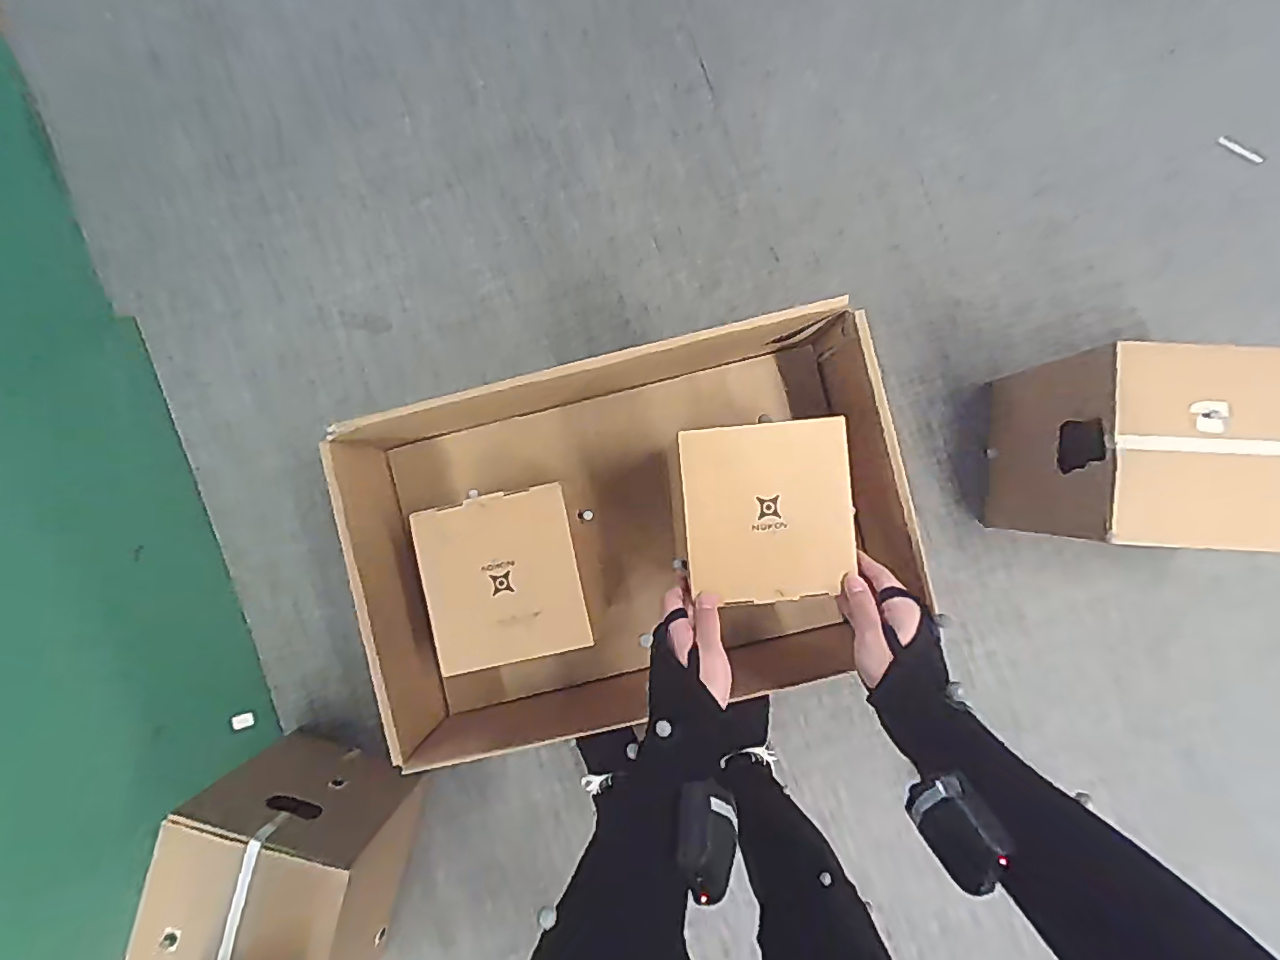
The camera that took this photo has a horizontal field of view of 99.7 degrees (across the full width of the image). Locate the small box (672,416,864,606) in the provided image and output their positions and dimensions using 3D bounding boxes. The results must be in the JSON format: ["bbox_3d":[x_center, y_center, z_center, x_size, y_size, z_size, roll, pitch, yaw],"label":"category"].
[{"bbox_3d":[0.129,0.029,0.603,0.168,0.176,0.179,-5,92,-1],"label":"small box"}]

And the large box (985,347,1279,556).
[{"bbox_3d":[0.914,-0.044,0.964,0.408,0.320,0.320,3,89,2],"label":"large box"}]
